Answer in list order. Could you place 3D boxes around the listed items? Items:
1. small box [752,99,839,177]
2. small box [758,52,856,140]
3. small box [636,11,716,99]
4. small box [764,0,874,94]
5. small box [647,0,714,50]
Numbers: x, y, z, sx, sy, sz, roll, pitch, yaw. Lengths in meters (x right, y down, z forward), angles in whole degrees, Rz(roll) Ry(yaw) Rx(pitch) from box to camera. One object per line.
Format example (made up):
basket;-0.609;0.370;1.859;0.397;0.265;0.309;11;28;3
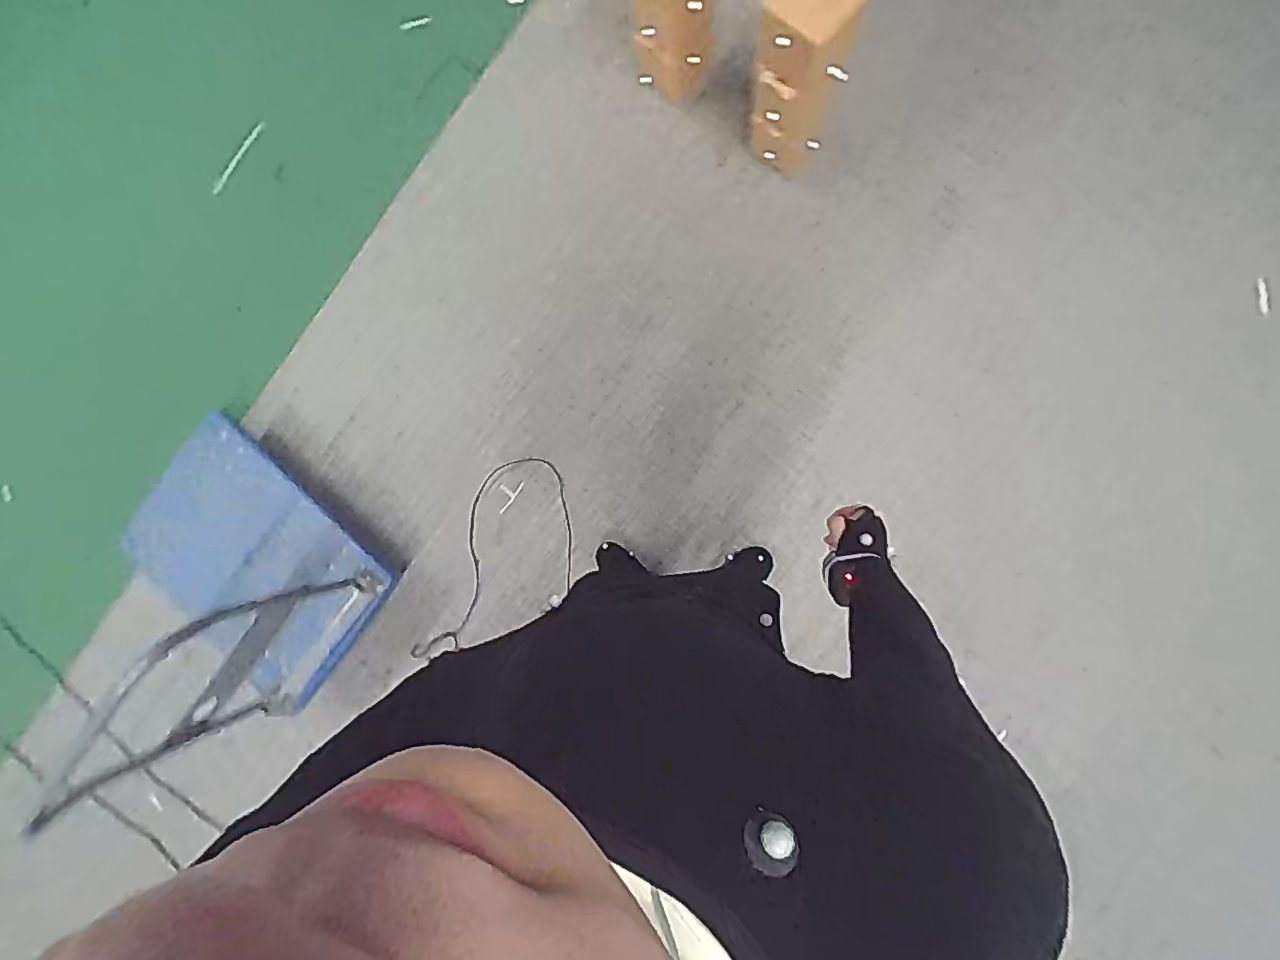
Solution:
small box;0.442;-1.024;1.557;0.168;0.176;0.179;42;95;8
small box;0.421;-1.039;1.394;0.179;0.176;0.168;-44;81;5
small box;0.117;-1.309;1.624;0.168;0.176;0.179;45;94;8
small box;0.399;-1.041;1.232;0.168;0.176;0.179;-44;82;6
small box;0.102;-1.331;1.471;0.168;0.176;0.179;-14;85;10
